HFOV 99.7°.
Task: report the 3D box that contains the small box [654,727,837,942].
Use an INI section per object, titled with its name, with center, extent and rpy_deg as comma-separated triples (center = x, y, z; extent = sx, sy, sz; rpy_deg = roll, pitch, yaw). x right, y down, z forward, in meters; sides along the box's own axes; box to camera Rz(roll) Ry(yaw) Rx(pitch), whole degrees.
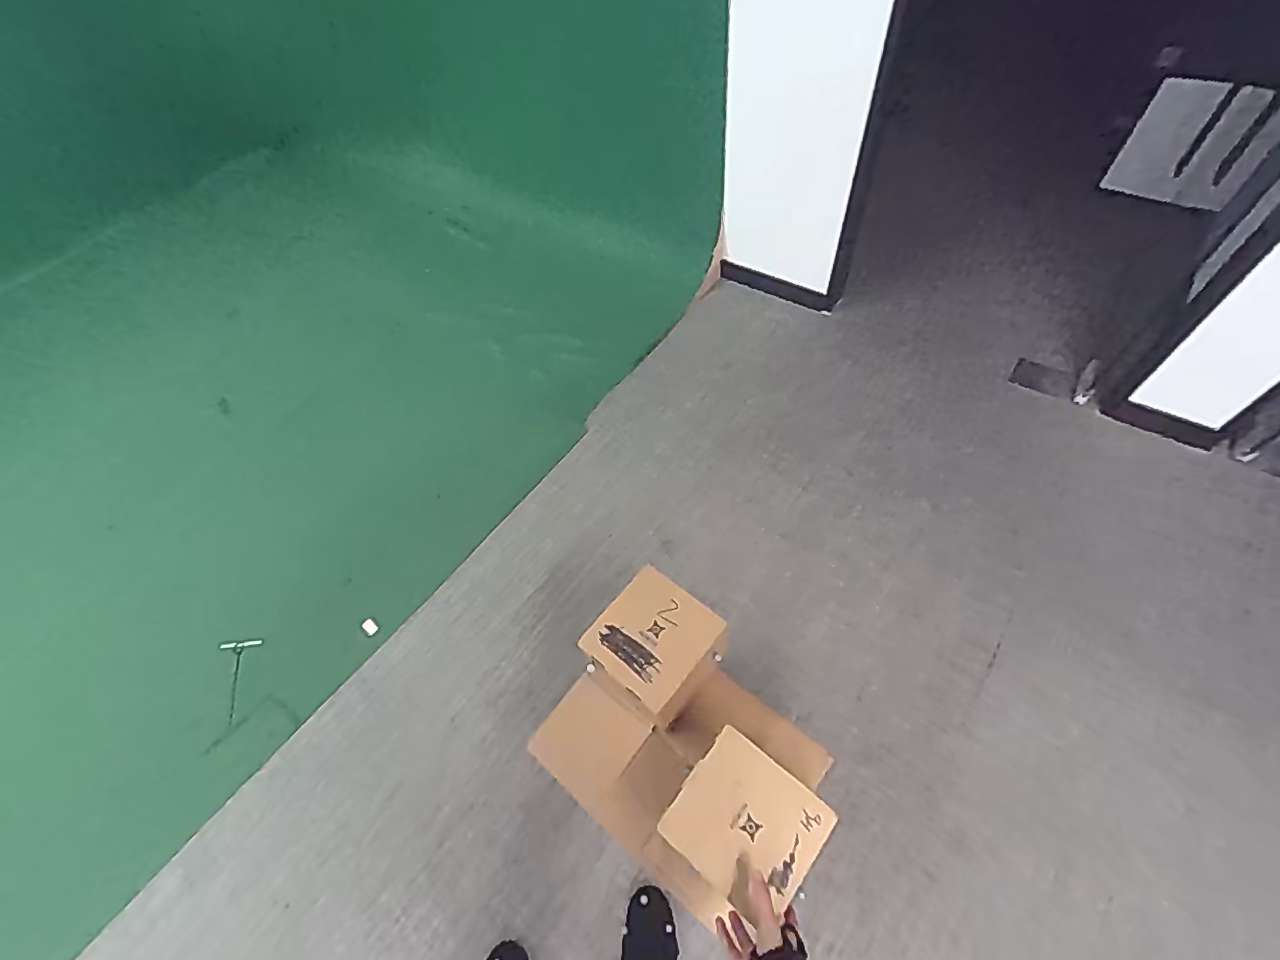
[small box]
center = 0.141, 0.485, 0.754
extent = 0.179, 0.176, 0.168
rpy_deg = 34, 67, 26
